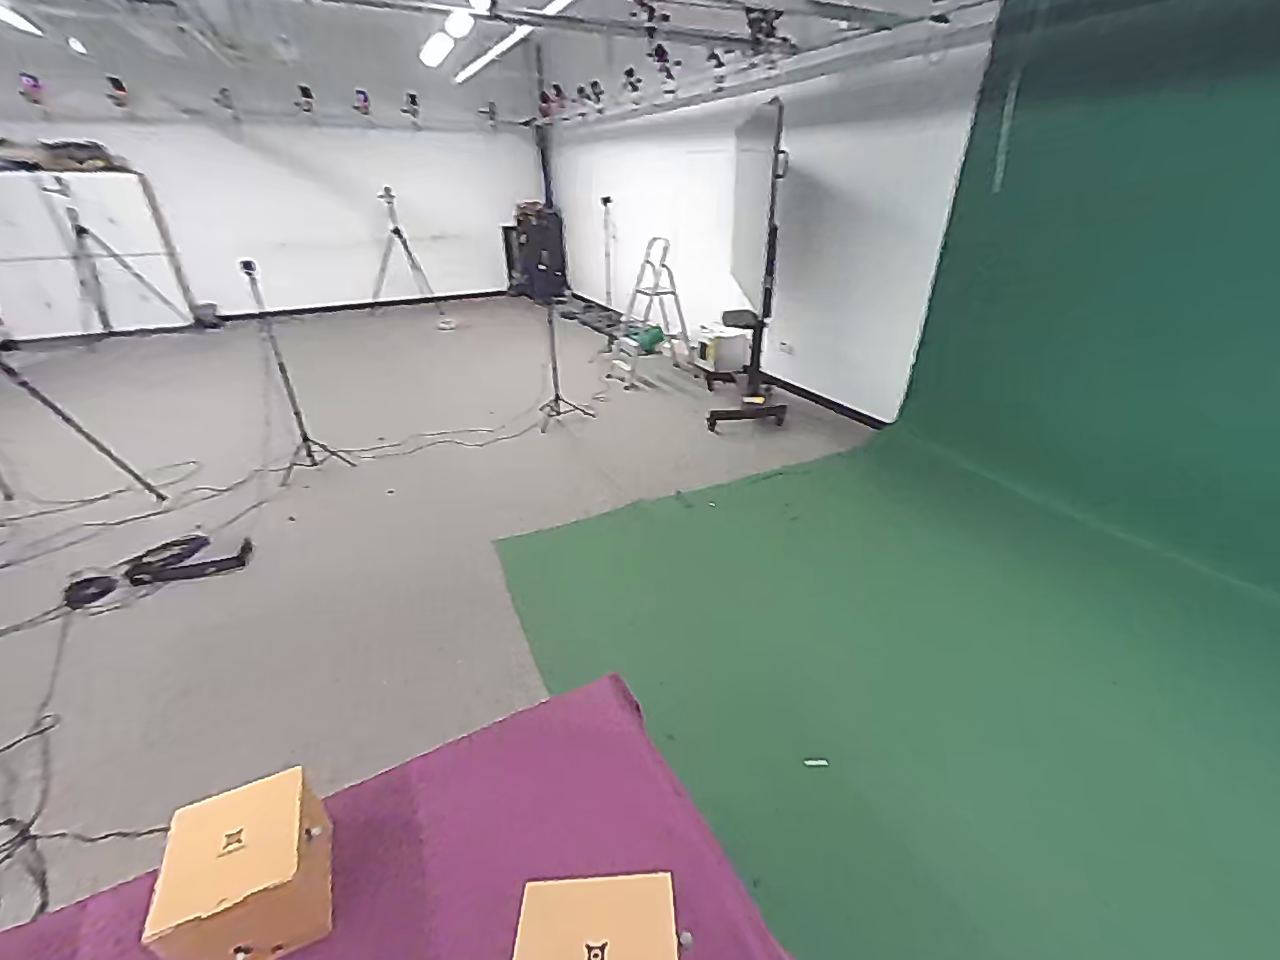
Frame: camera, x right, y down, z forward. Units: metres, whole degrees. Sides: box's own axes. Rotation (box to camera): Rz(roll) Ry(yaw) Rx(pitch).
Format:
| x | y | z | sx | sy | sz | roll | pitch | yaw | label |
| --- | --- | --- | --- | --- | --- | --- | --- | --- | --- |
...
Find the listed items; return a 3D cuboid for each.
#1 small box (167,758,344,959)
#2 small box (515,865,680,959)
| x | y | z | sx | sy | sz | roll | pitch | yaw | label |
| --- | --- | --- | --- | --- | --- | --- | --- | --- | --- |
| -0.565 | 0.576 | 0.822 | 0.168 | 0.176 | 0.179 | -14 | 34 | -21 | small box |
| -0.039 | 0.550 | 0.568 | 0.168 | 0.176 | 0.179 | -4 | 20 | 2 | small box |
